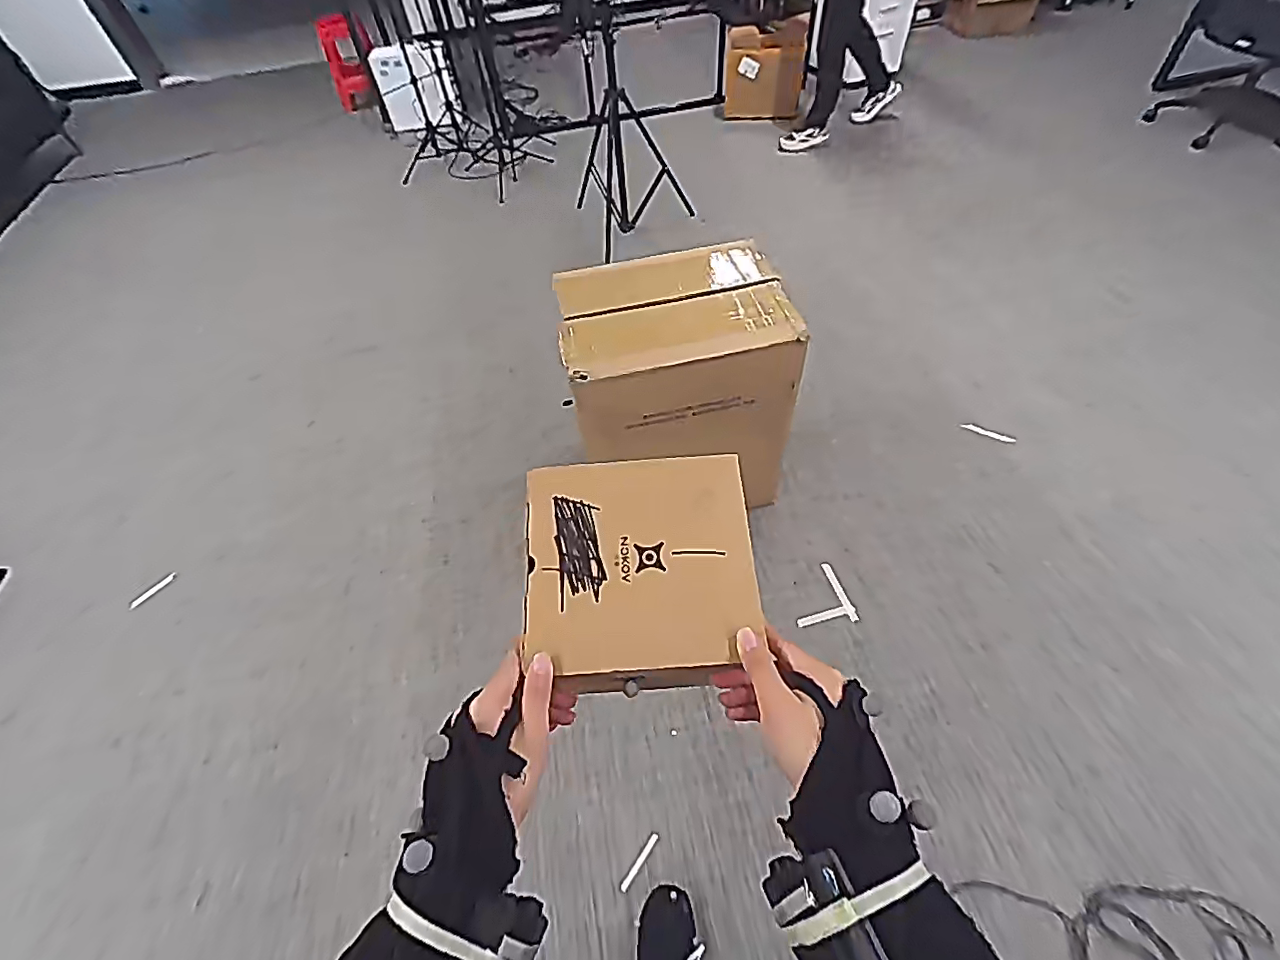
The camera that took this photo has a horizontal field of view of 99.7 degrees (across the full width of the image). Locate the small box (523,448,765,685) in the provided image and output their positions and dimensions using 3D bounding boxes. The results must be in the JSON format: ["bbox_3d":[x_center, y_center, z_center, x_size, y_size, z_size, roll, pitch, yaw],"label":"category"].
[{"bbox_3d":[0.002,0.087,0.487,0.179,0.176,0.168,-4,64,0],"label":"small box"}]
